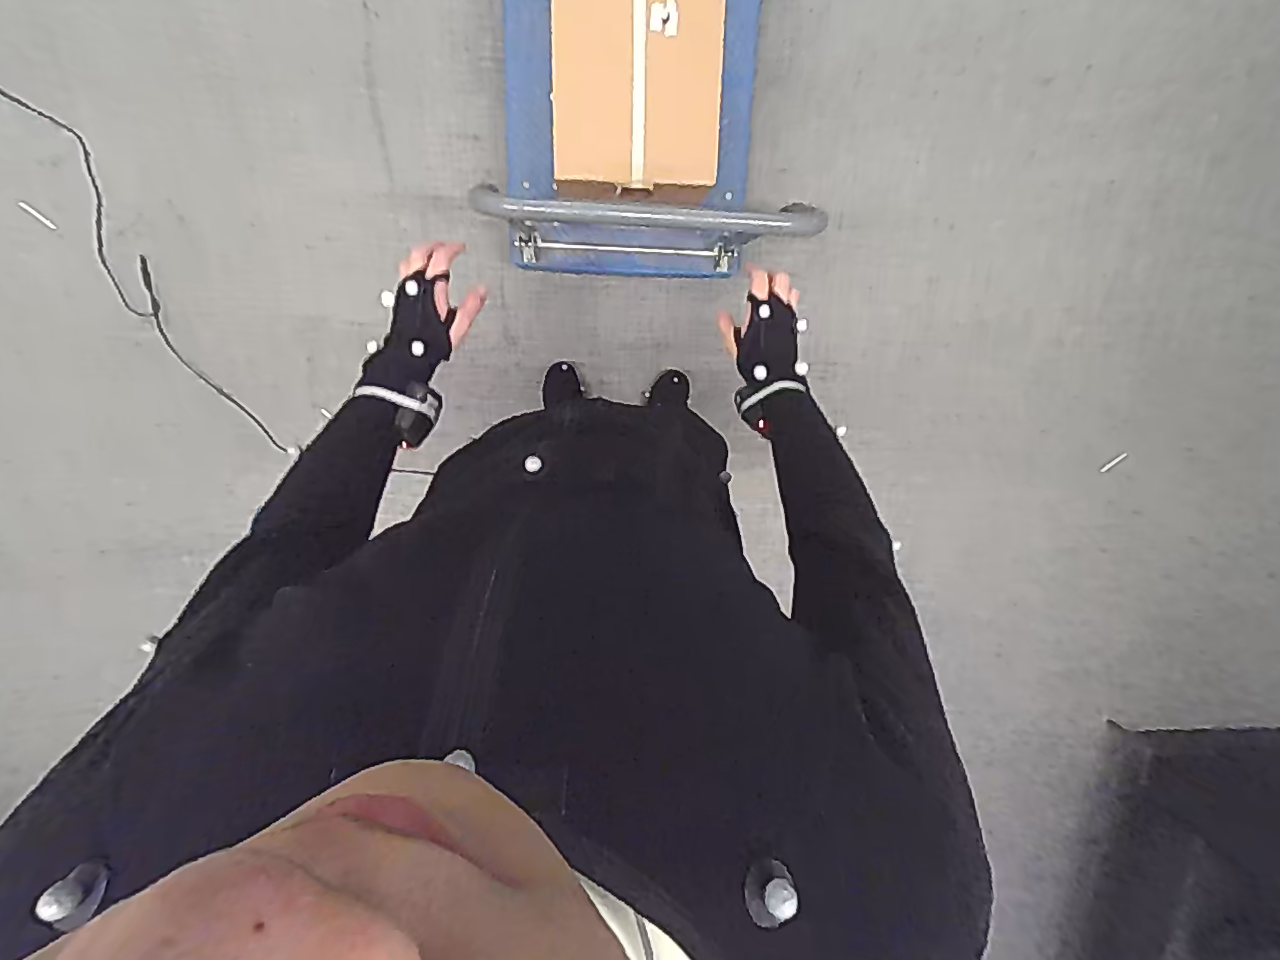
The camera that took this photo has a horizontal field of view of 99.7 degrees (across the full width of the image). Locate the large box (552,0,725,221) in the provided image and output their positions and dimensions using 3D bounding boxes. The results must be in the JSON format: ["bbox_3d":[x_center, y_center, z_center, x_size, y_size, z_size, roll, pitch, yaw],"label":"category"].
[{"bbox_3d":[-0.008,-0.790,1.129,0.320,0.320,0.408,0,103,-4],"label":"large box"}]
